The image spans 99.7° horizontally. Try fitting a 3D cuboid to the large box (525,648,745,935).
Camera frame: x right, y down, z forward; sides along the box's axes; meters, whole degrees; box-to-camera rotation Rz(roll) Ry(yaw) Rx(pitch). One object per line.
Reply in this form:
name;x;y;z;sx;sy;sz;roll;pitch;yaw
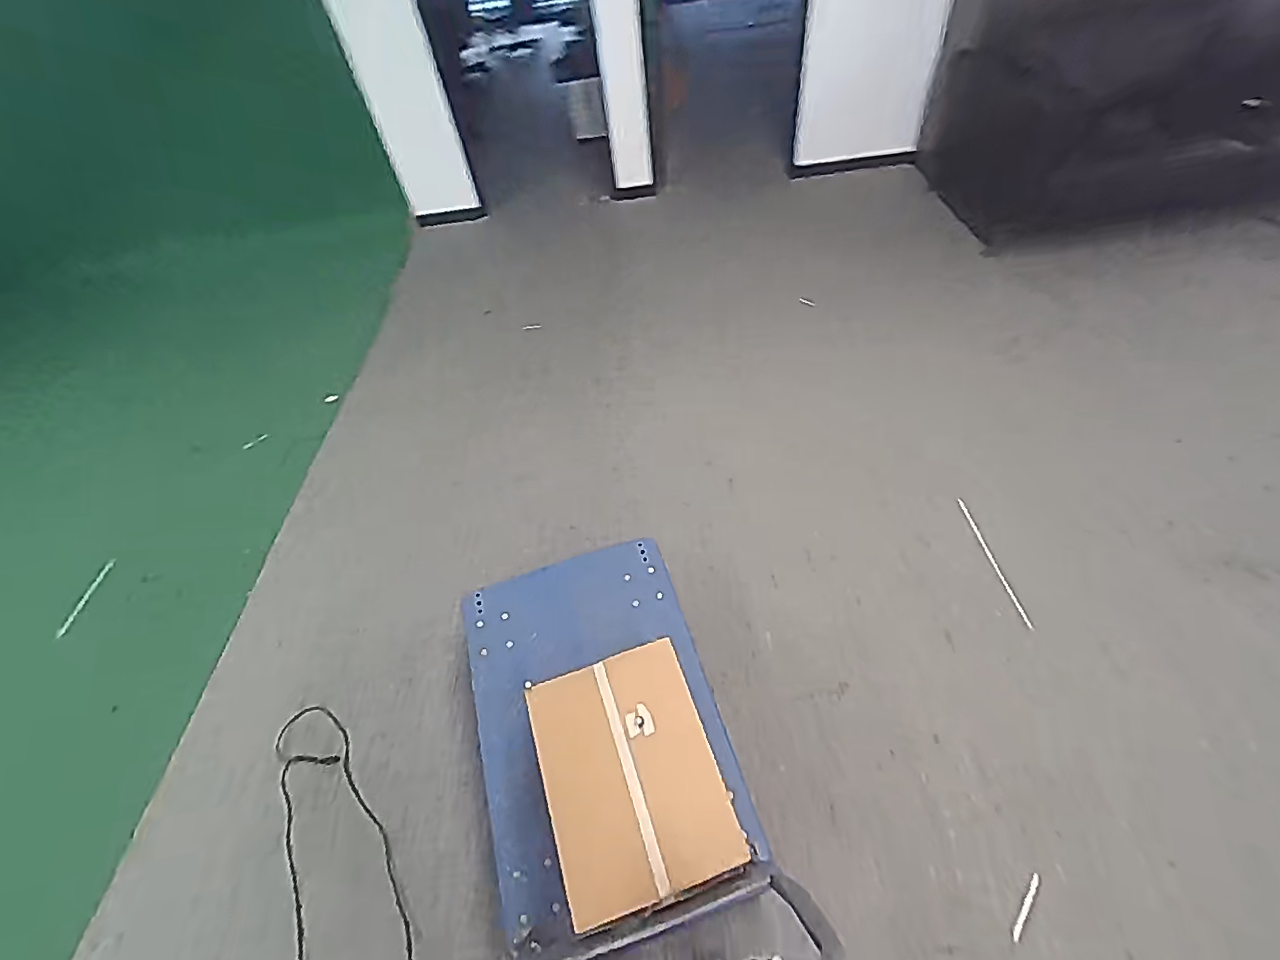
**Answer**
large box;-0.013;0.635;1.136;0.320;0.320;0.408;-18;56;-8
